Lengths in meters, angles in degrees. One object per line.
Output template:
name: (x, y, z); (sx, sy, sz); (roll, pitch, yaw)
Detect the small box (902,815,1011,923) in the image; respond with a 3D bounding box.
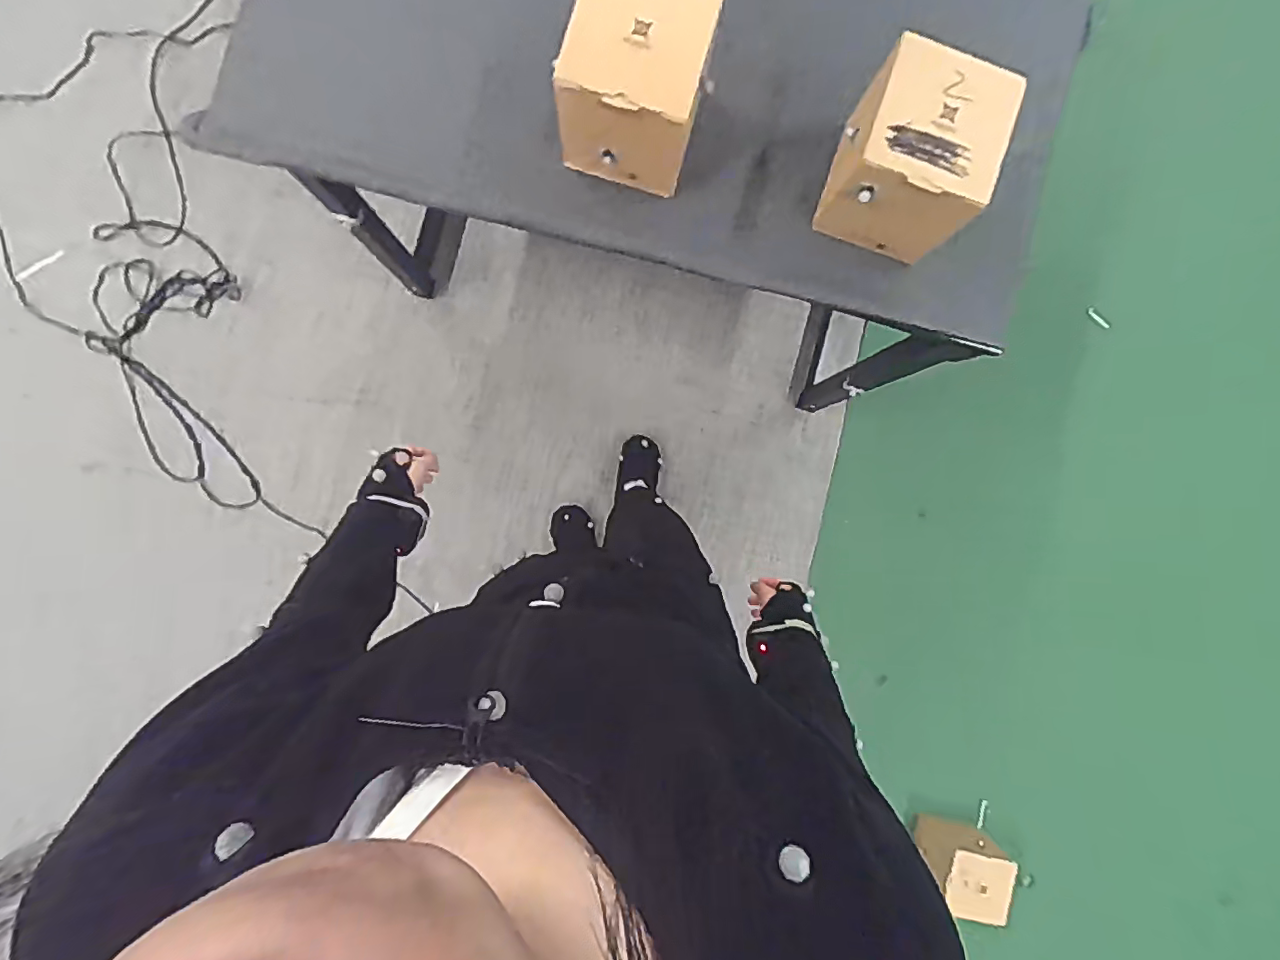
small box: (0.853, 1.048, 1.471); (0.179, 0.176, 0.168); (14, 87, -5)

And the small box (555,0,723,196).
small box: (-0.008, -0.519, 0.710); (0.168, 0.176, 0.179); (15, 88, -5)
